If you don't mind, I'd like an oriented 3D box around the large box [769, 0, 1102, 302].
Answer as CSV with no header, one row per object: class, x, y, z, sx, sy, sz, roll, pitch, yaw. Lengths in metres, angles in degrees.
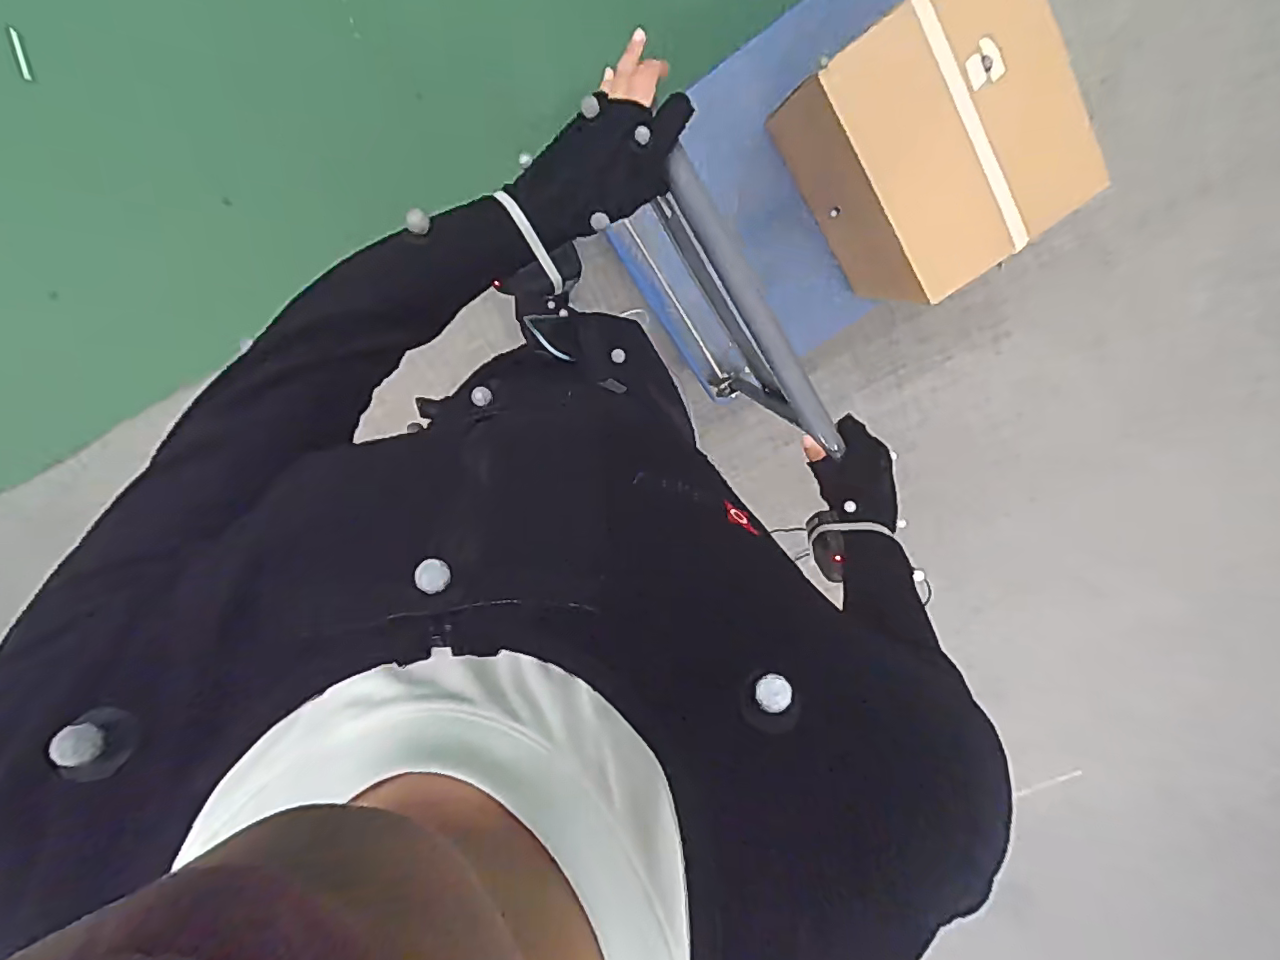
large box,0.492,-0.581,0.964,0.320,0.320,0.408,-34,108,10
